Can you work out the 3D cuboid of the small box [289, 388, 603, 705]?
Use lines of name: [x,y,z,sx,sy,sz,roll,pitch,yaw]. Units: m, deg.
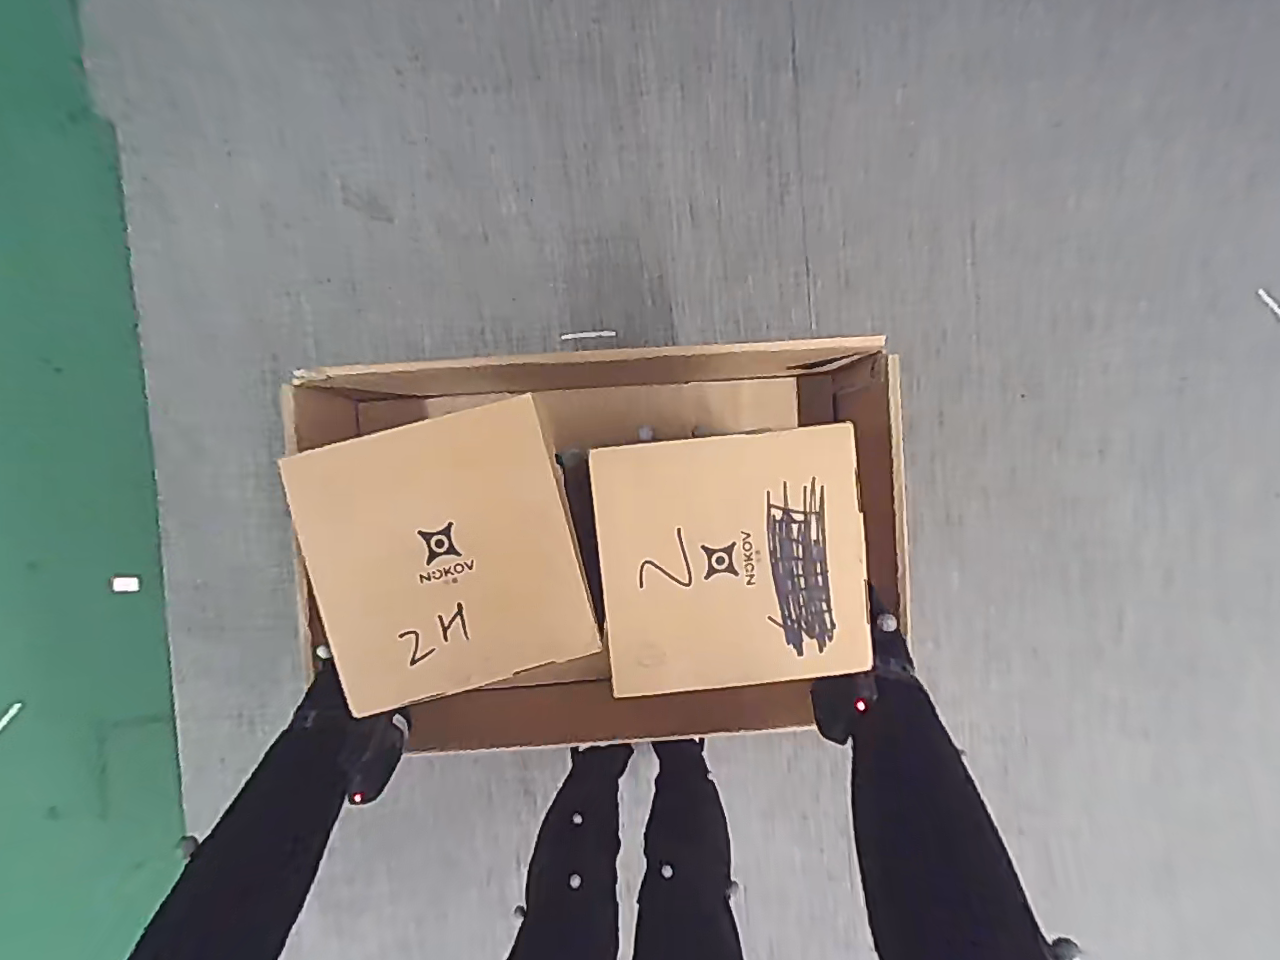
small box: [-0.129,0.043,0.428,0.168,0.176,0.179,-15,91,-2]
